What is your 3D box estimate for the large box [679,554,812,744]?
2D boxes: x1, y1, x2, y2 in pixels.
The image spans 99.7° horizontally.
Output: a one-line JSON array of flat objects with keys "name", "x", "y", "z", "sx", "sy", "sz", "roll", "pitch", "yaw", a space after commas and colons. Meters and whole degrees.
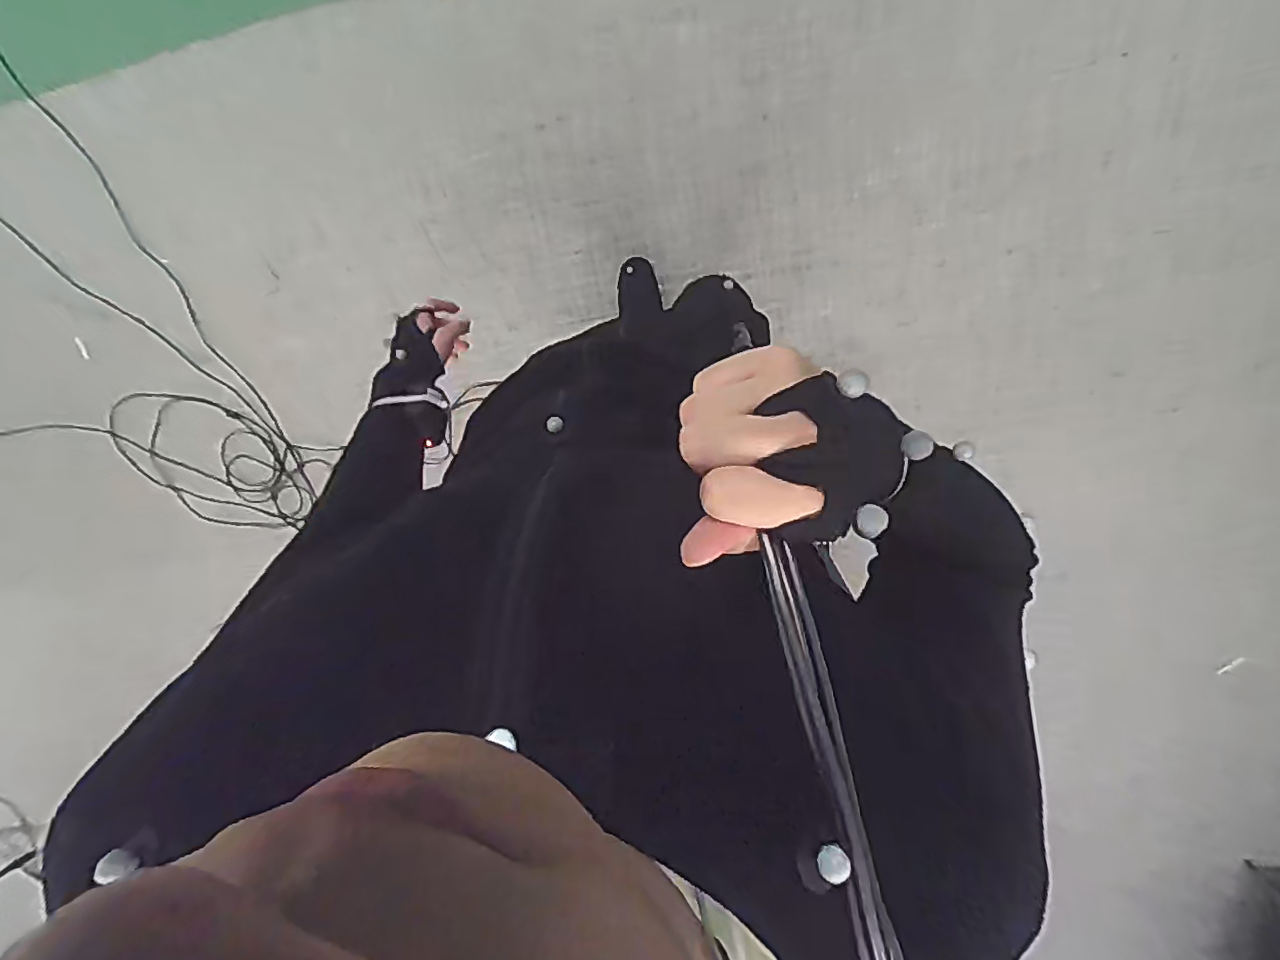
[{"name": "large box", "x": 0.269, "y": 0.452, "z": 1.492, "sx": 0.320, "sy": 0.320, "sz": 0.408, "roll": -1, "pitch": 111, "yaw": 4}]
